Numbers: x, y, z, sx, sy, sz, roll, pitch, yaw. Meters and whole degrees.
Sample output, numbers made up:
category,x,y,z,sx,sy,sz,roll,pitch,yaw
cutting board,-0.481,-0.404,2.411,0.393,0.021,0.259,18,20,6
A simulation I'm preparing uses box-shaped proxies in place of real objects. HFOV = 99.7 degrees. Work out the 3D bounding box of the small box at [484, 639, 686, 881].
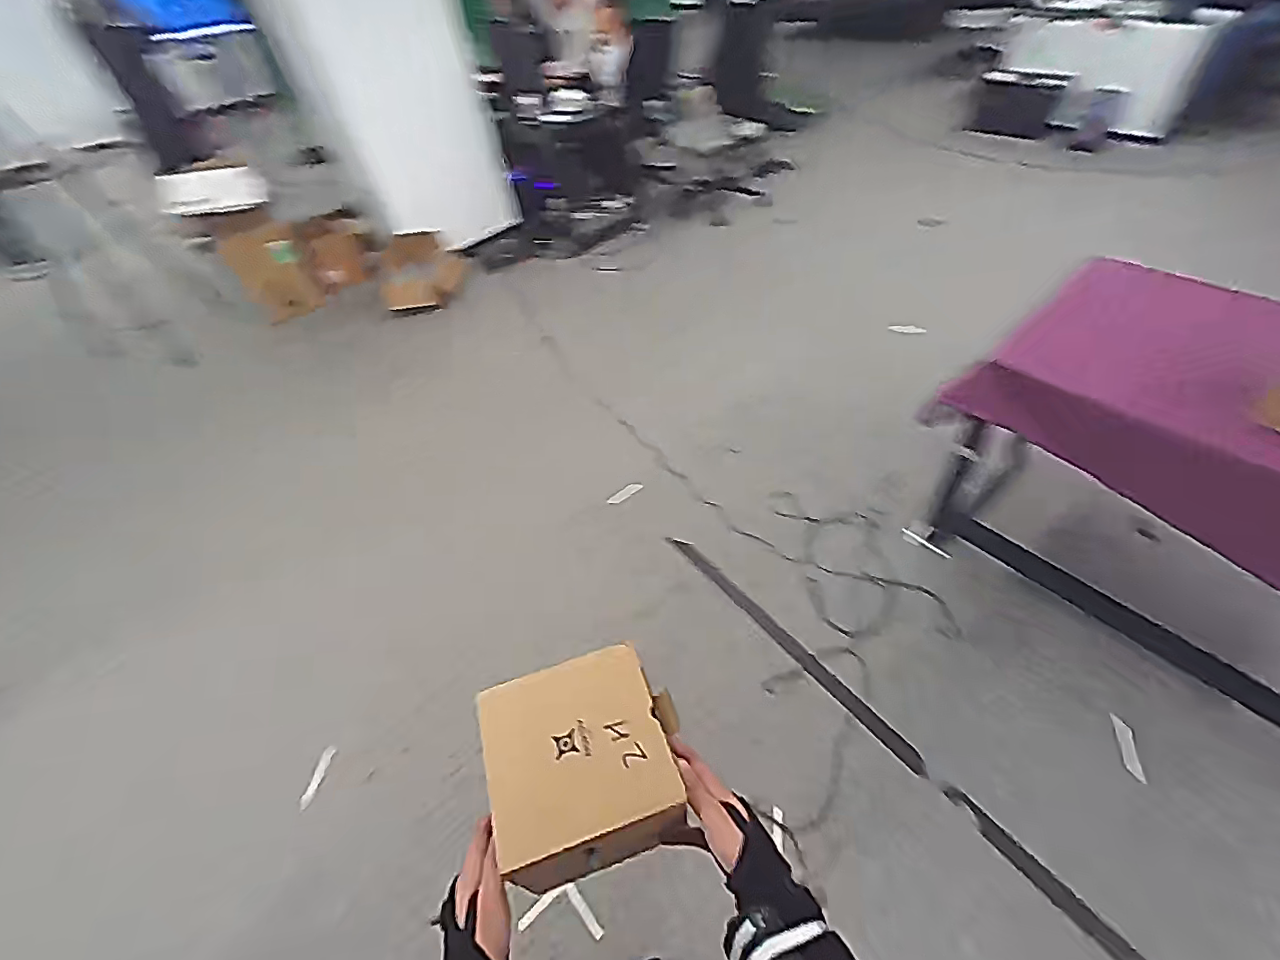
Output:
category,x,y,z,sx,sy,sz,roll,pitch,yaw
small box,-0.055,0.305,0.586,0.179,0.176,0.168,-14,49,-9
